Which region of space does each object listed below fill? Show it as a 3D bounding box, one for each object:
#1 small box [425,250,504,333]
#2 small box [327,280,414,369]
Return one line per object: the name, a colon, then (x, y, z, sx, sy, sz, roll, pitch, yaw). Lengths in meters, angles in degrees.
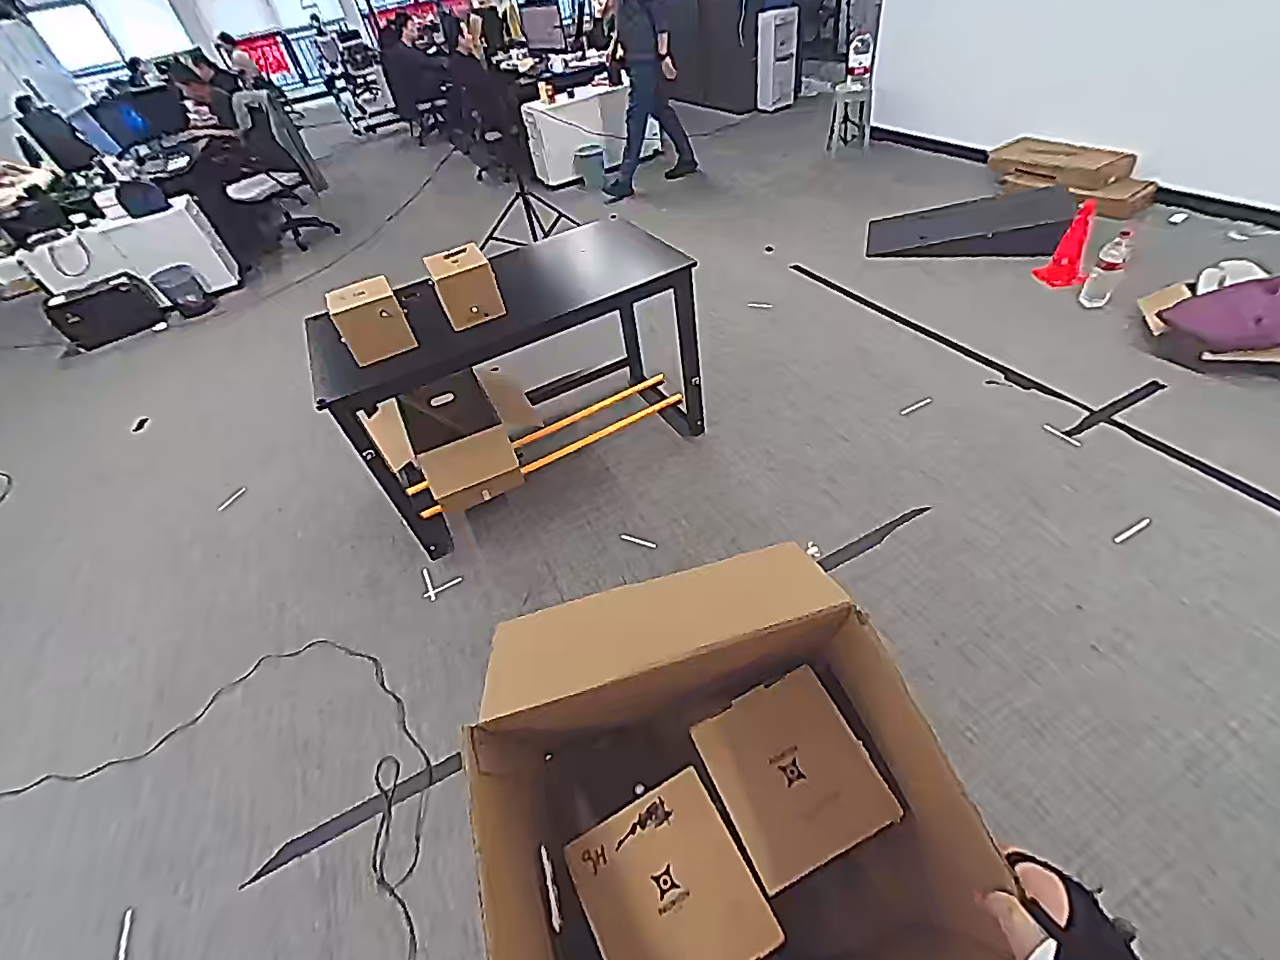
small box: (-0.539, -0.580, 1.664, 0.168, 0.176, 0.179, -25, 47, -13)
small box: (-0.785, -0.457, 1.588, 0.179, 0.176, 0.168, -26, 46, -15)
